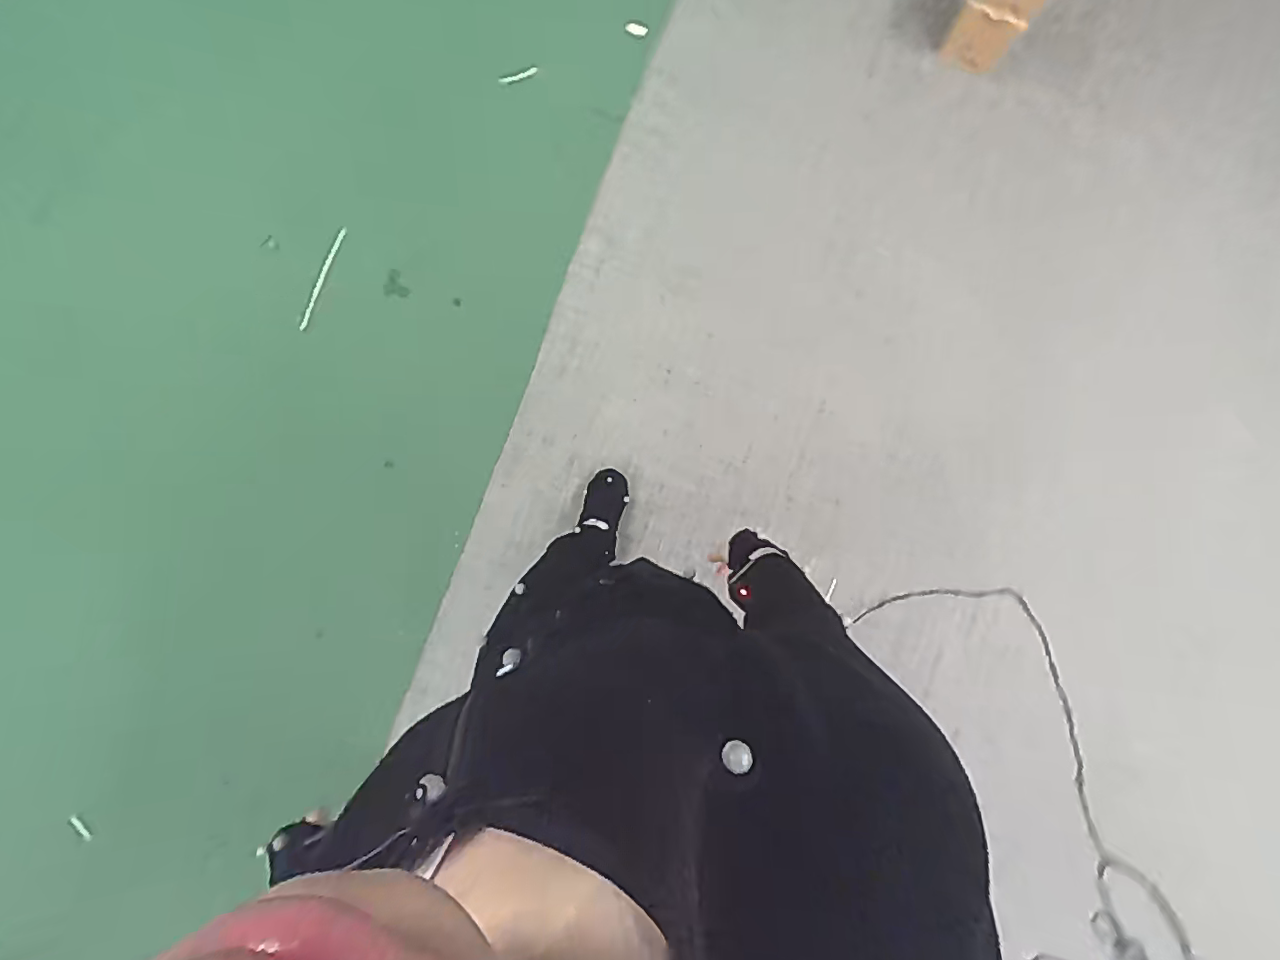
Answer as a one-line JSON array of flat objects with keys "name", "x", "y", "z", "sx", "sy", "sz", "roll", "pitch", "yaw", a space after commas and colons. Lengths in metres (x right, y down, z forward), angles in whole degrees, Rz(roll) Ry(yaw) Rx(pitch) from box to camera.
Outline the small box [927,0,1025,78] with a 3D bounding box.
[{"name": "small box", "x": 0.961, "y": -1.315, "z": 1.543, "sx": 0.168, "sy": 0.176, "sz": 0.179, "roll": 25, "pitch": 87, "yaw": 0}]
